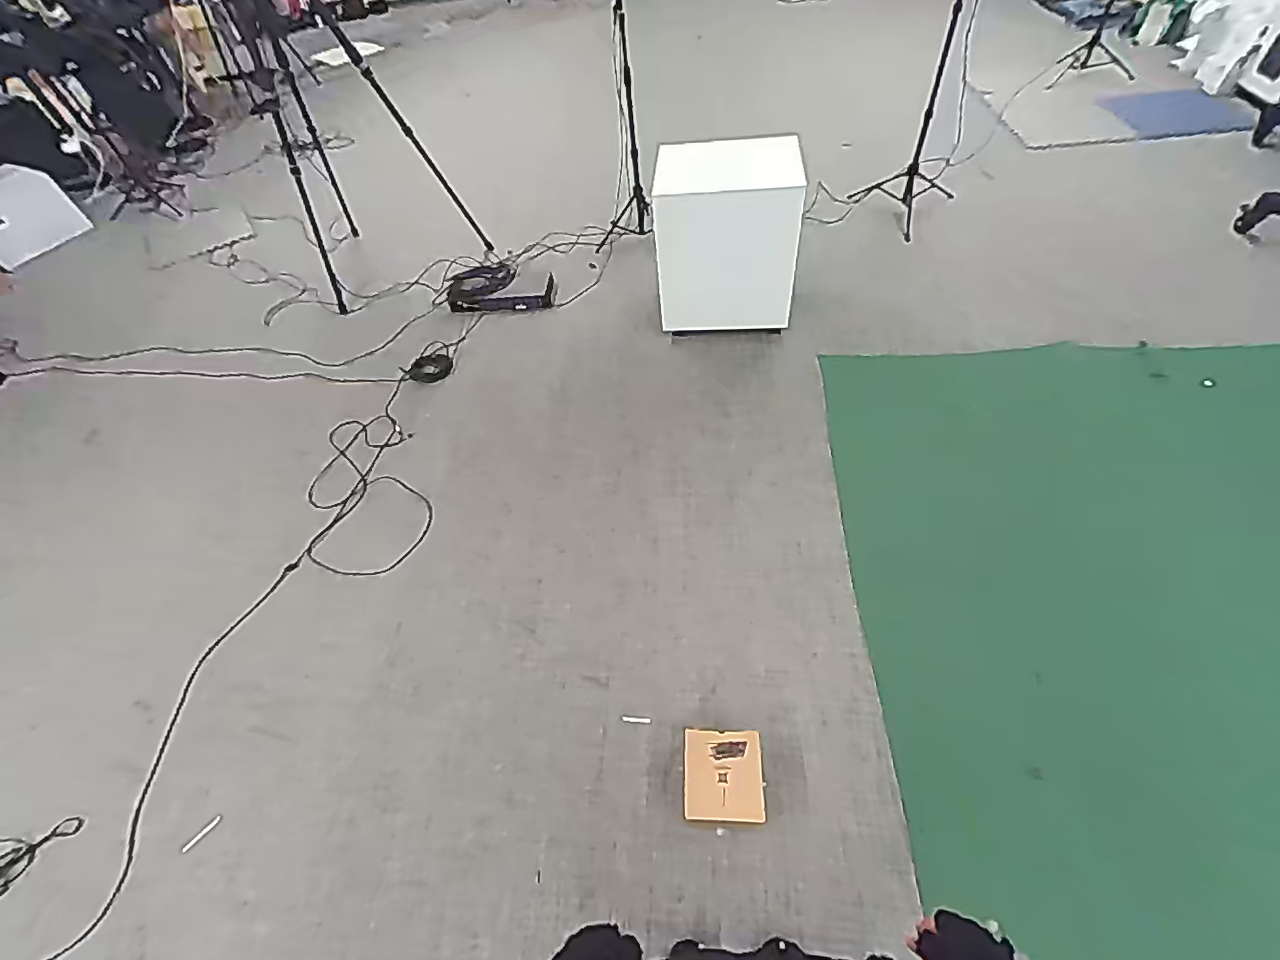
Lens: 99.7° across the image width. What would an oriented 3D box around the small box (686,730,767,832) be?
[{"bbox_3d":[0.186,0.674,1.209,0.168,0.176,0.179,-1,53,6],"label":"small box"}]
